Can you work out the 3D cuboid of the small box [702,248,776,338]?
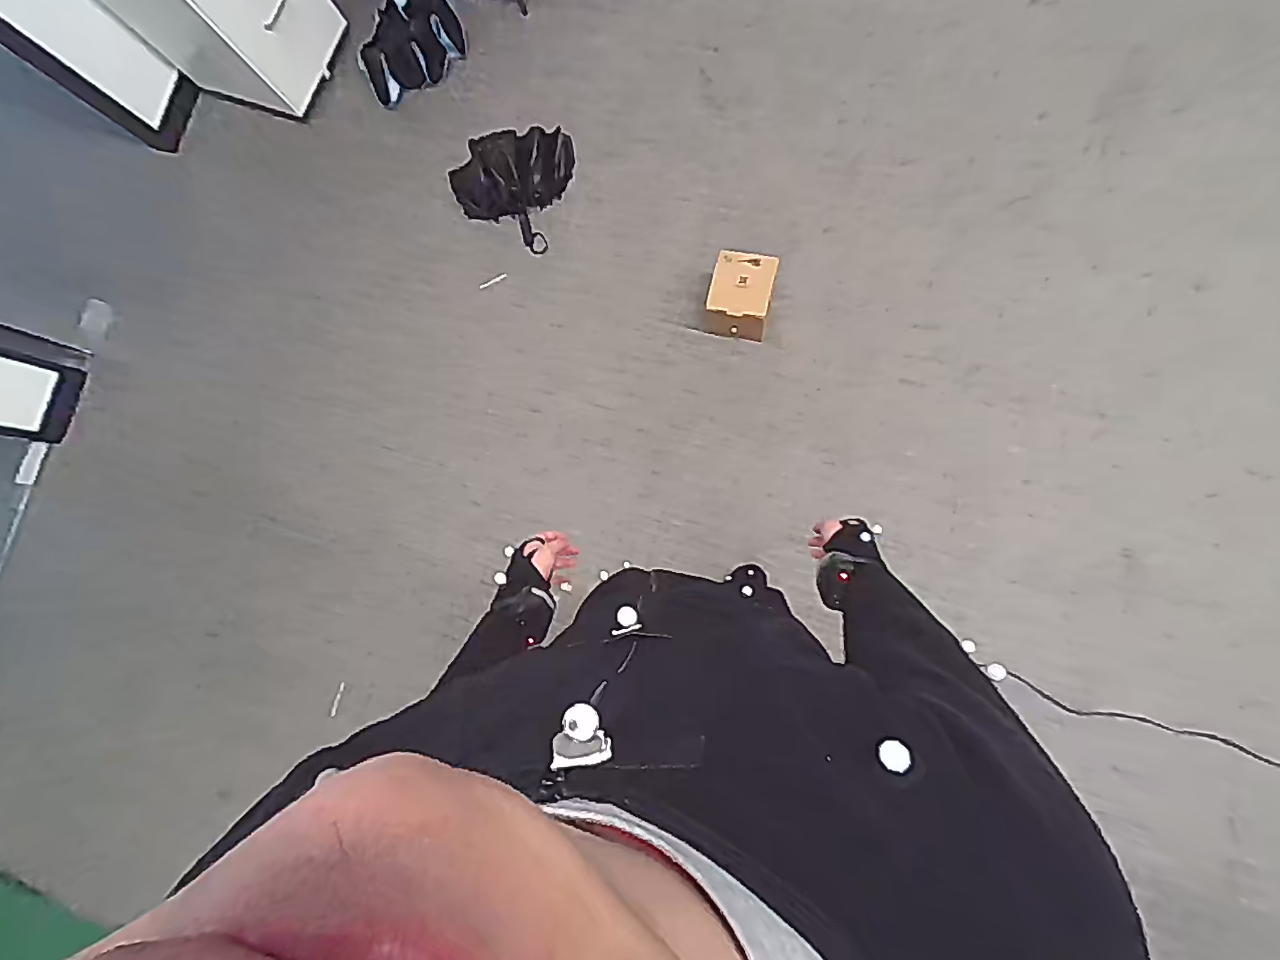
[{"bbox_3d":[0.282,-0.521,1.529,0.168,0.176,0.179,14,85,11],"label":"small box"}]
